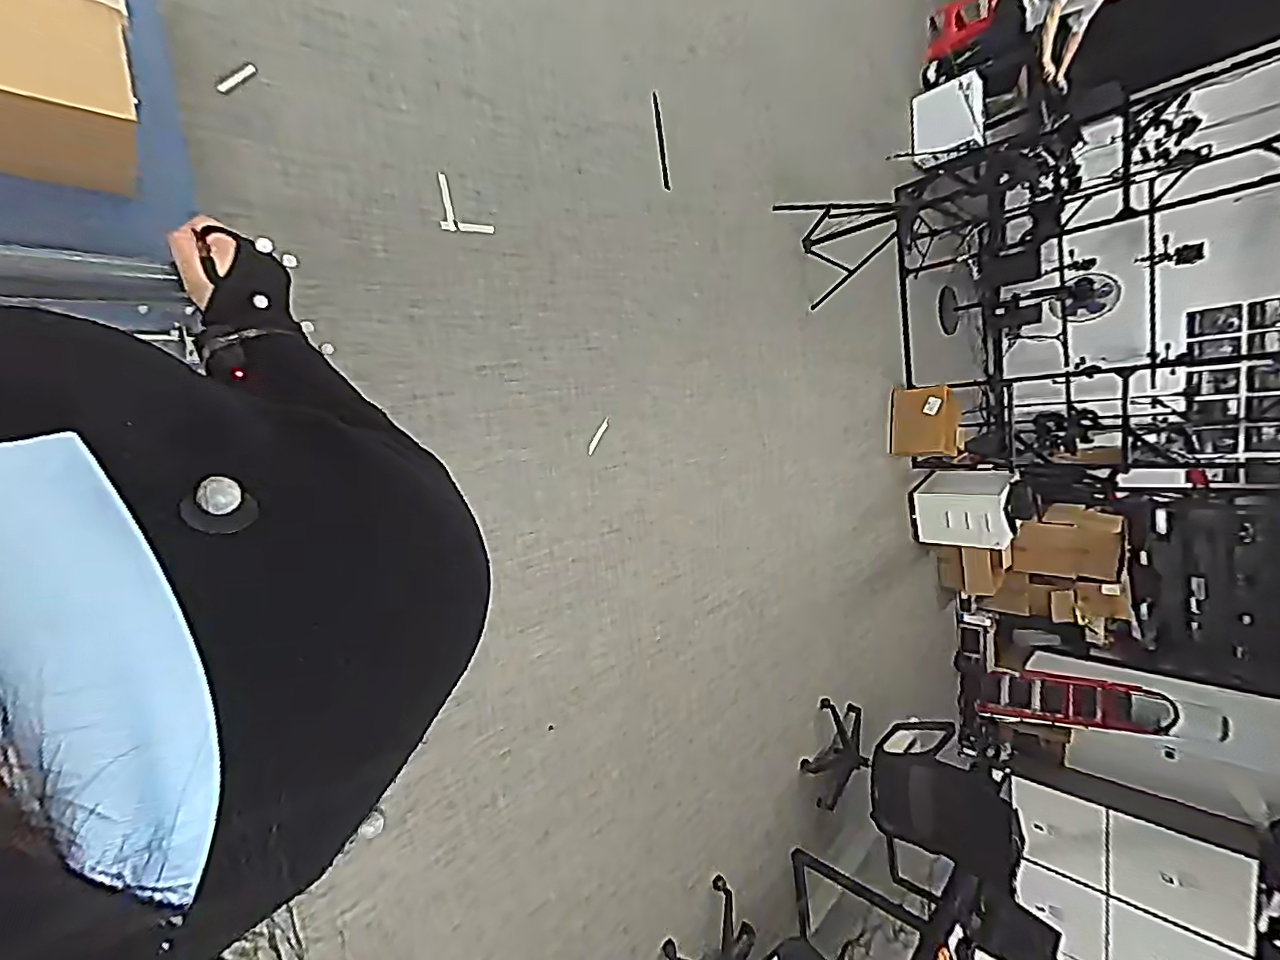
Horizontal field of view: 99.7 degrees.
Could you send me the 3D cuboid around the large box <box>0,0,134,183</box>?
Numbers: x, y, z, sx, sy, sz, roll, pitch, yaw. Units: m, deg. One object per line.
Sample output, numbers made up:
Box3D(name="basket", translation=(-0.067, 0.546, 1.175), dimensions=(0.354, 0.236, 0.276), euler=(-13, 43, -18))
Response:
Box3D(name="large box", translation=(-0.973, -0.645, 0.717), dimensions=(0.408, 0.320, 0.320), euler=(-10, 97, -42))
